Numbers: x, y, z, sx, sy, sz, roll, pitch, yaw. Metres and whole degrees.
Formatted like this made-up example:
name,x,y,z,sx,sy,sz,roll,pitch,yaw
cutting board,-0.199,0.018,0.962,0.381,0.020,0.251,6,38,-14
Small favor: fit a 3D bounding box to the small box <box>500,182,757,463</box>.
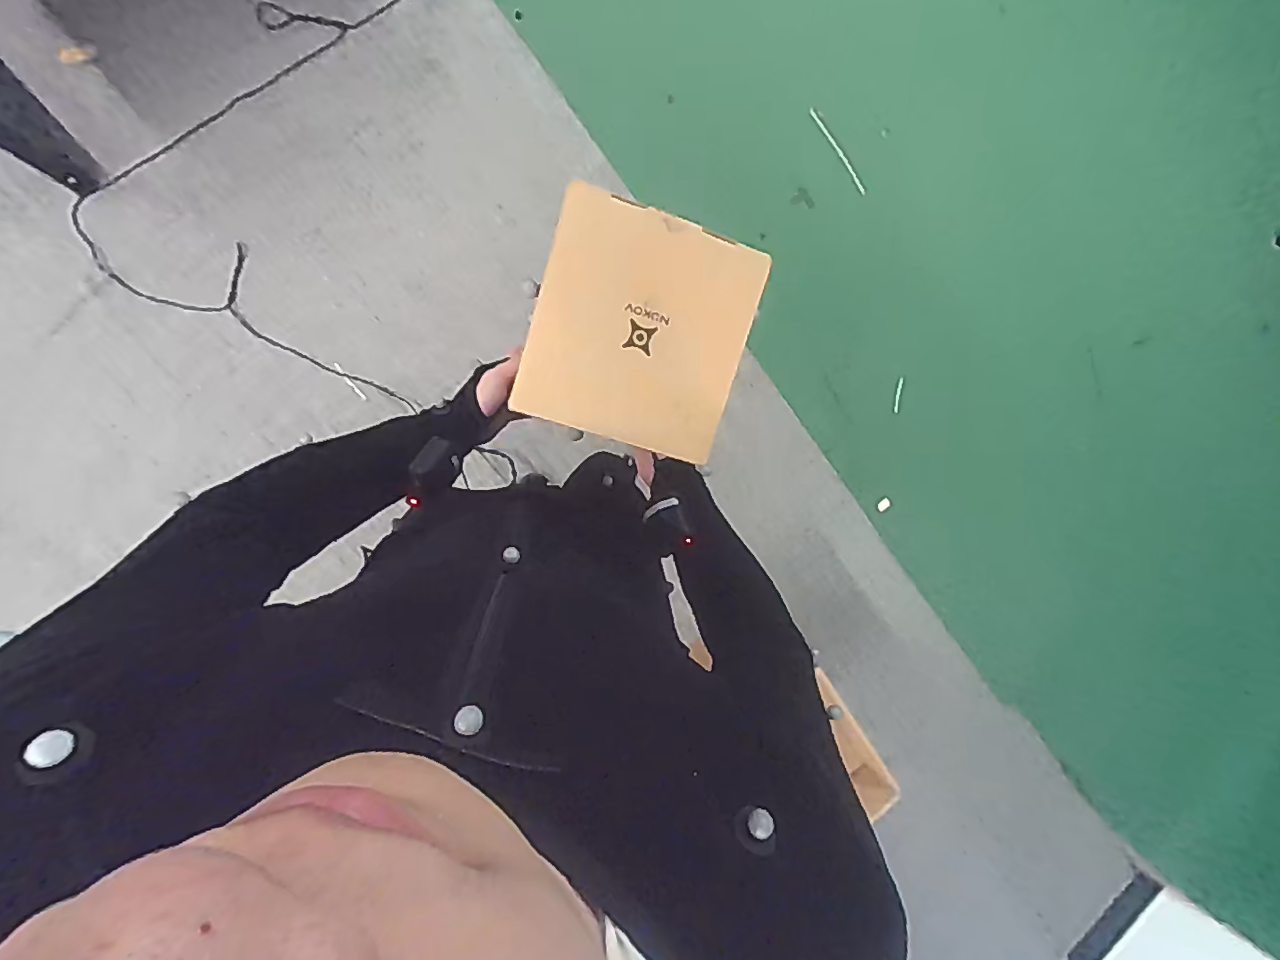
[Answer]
name,x,y,z,sx,sy,sz,roll,pitch,yaw
small box,-0.019,-0.129,0.498,0.168,0.176,0.179,15,96,-12
